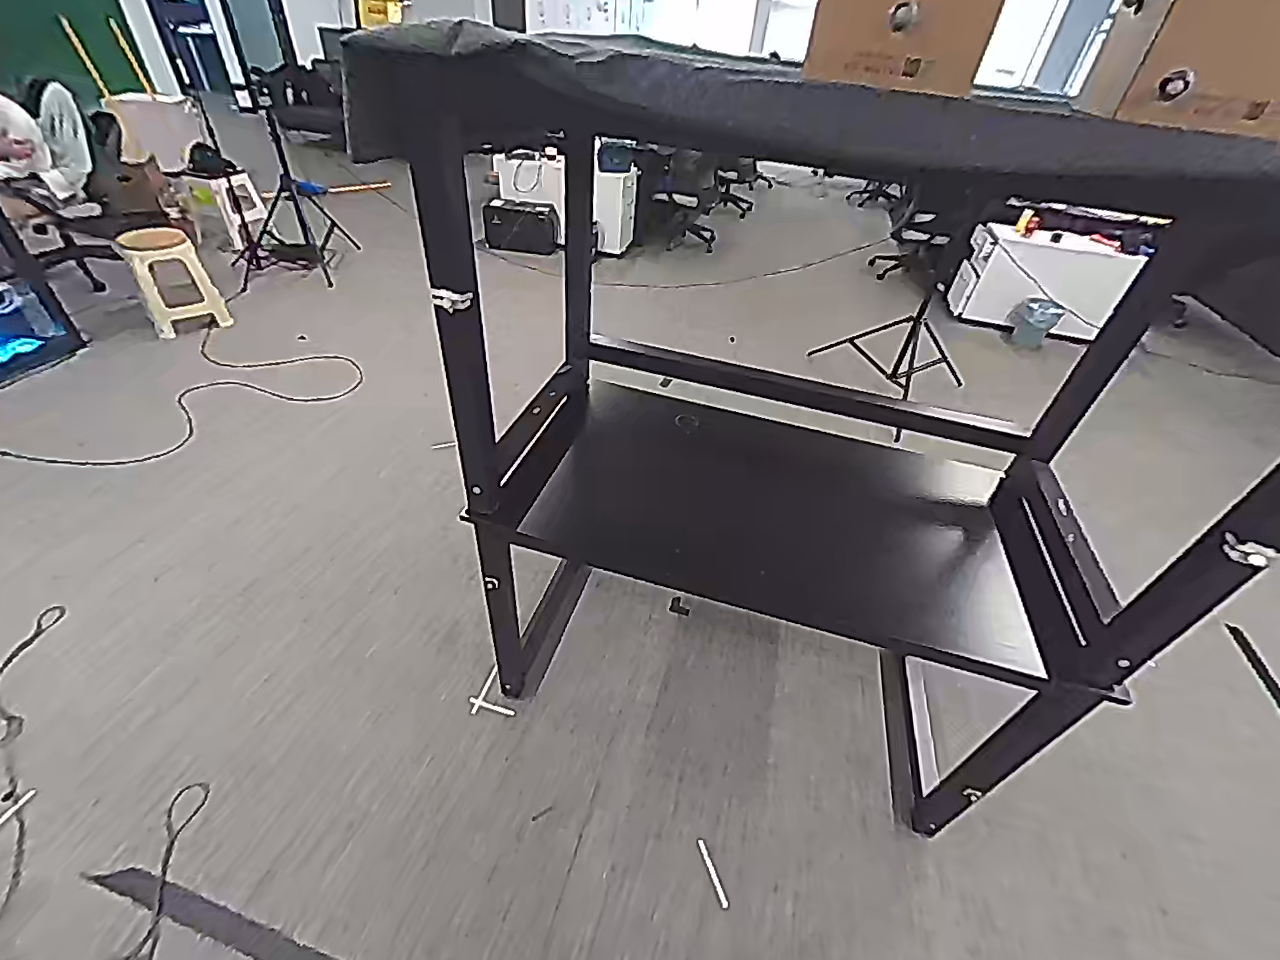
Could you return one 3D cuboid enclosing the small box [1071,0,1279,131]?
[{"bbox_3d":[0.560,-0.440,0.511,0.168,0.176,0.179,17,39,12],"label":"small box"}]

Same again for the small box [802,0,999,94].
[{"bbox_3d":[0.272,-0.510,0.554,0.168,0.176,0.179,14,38,10],"label":"small box"}]
